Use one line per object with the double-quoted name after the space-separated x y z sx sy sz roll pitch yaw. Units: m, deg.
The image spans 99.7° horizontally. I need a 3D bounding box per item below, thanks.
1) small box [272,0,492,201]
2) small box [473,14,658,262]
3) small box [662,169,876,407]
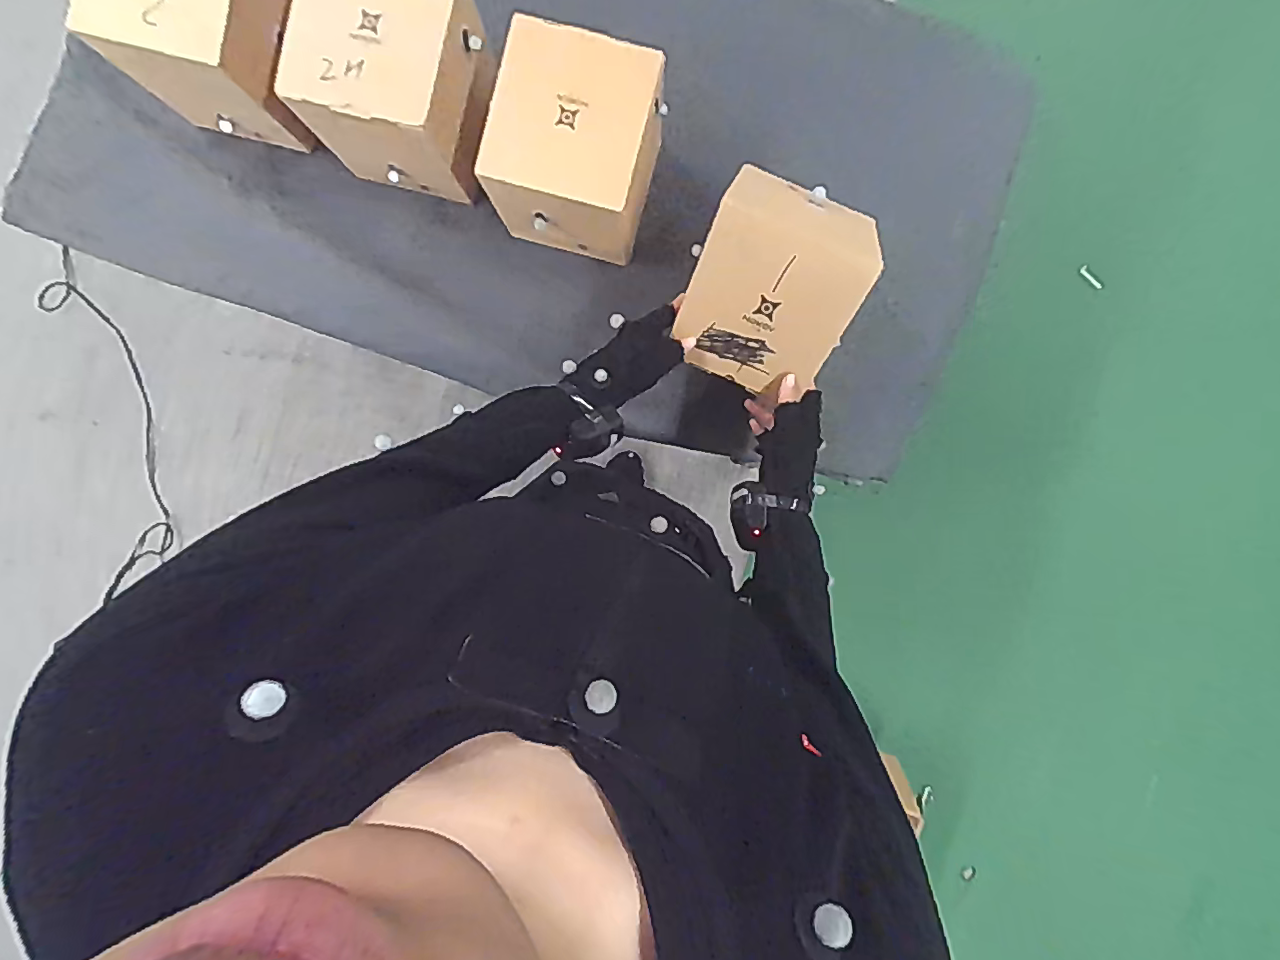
-0.287 -0.473 0.645 0.168 0.176 0.179 14 92 0 "small box"
-0.079 -0.390 0.651 0.168 0.176 0.179 15 91 -1 "small box"
0.145 -0.222 0.619 0.168 0.176 0.179 23 132 -1 "small box"
